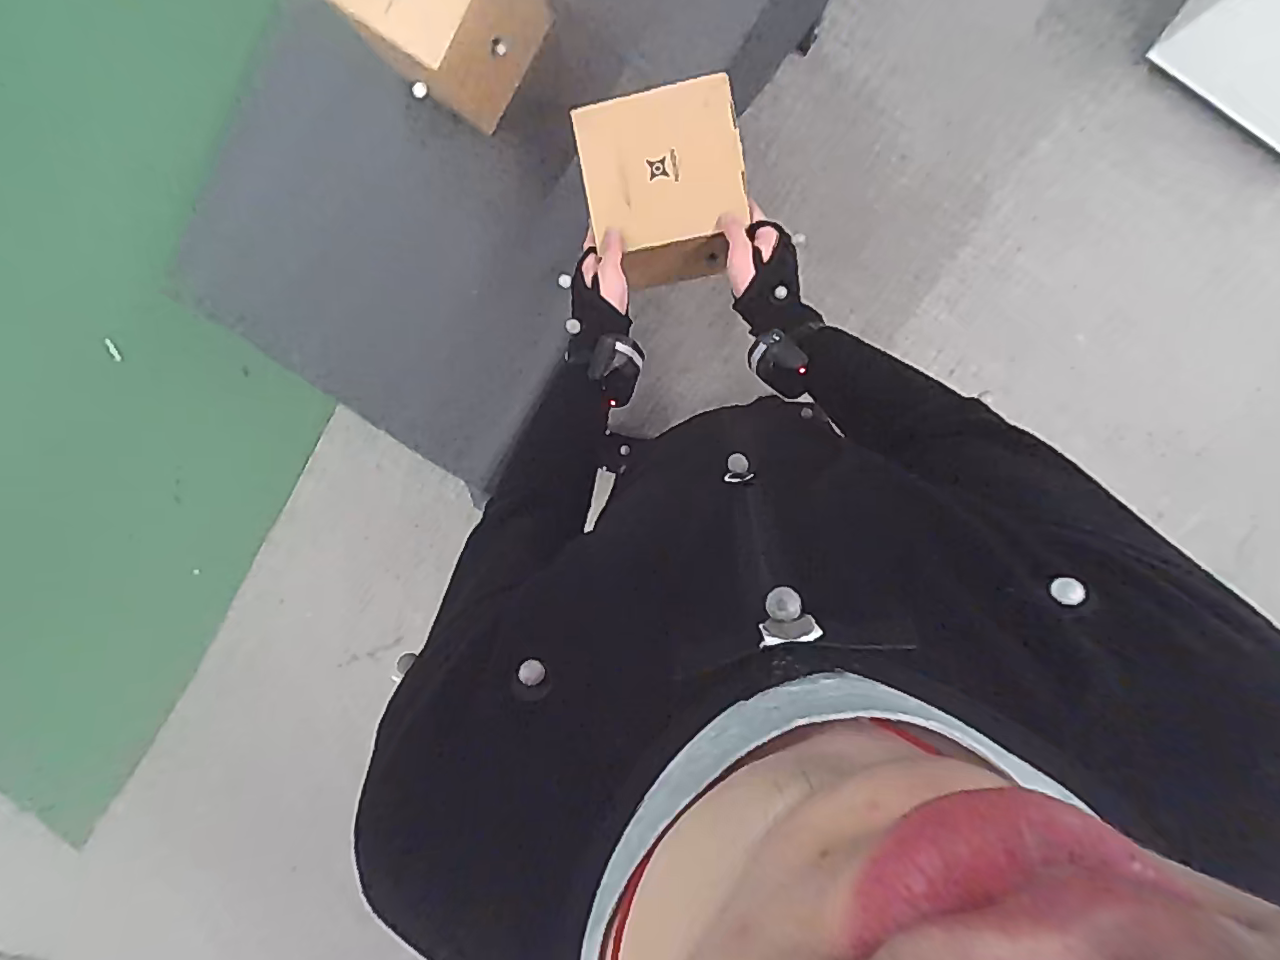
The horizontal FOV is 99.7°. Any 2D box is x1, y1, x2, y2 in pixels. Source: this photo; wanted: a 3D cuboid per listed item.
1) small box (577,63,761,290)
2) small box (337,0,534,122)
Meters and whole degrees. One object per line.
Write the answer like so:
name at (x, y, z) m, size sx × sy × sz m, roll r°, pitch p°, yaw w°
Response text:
small box at (0.036, -0.347, 0.655) m, size 0.179 × 0.176 × 0.168 m, roll -10°, pitch 93°, yaw 6°
small box at (-0.247, -0.593, 0.656) m, size 0.168 × 0.176 × 0.179 m, roll 35°, pitch 101°, yaw -2°
